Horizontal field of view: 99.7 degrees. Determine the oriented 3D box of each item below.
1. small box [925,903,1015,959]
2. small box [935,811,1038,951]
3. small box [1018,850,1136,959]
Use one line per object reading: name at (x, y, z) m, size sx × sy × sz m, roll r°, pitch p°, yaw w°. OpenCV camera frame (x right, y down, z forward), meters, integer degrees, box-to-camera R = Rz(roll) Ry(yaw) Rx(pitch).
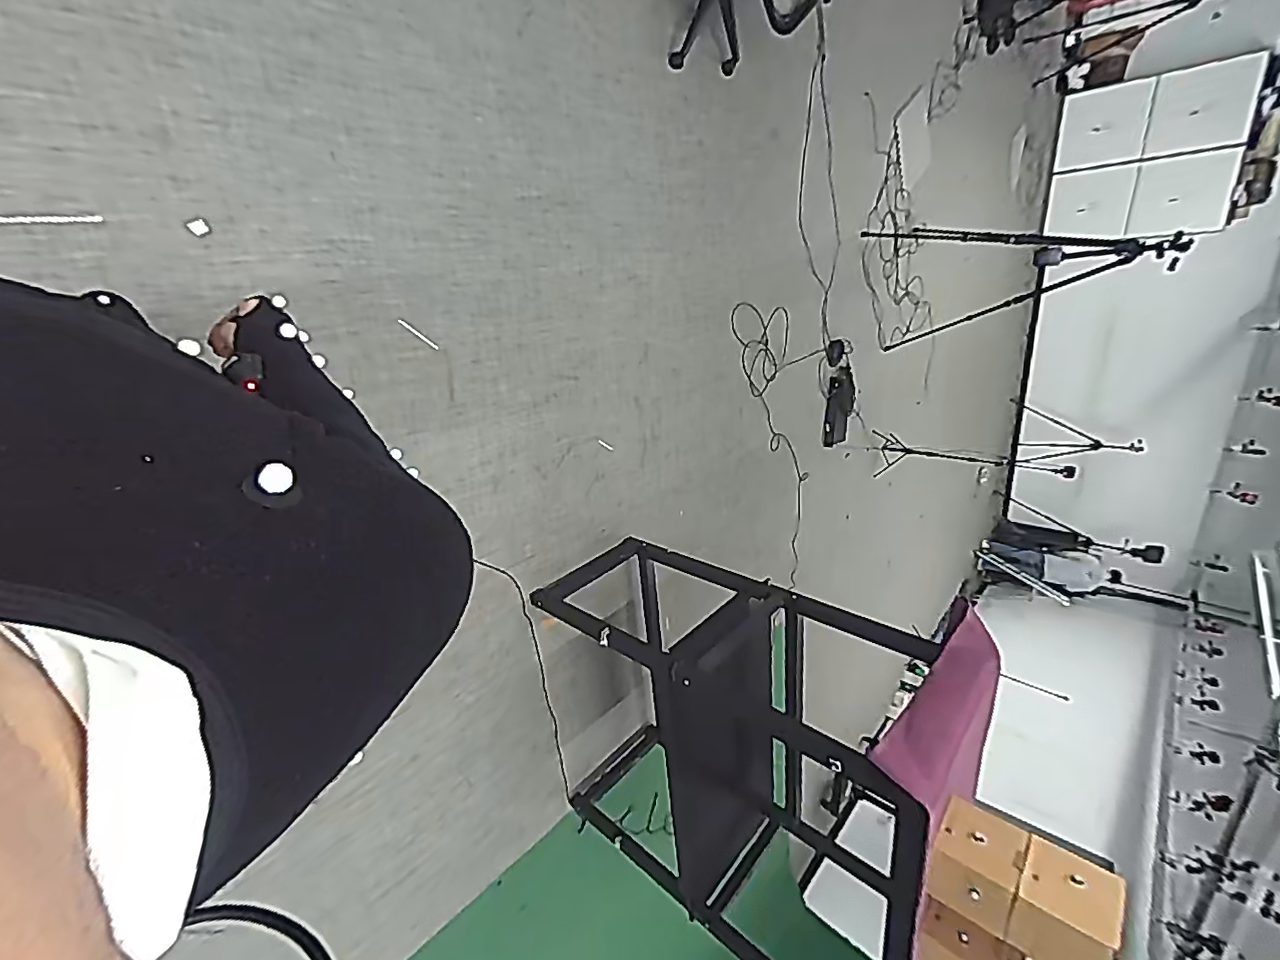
small box at (0.836, 1.212, 1.372) m, size 0.168 × 0.176 × 0.179 m, roll -26°, pitch 118°, yaw -40°
small box at (0.805, 0.917, 1.262) m, size 0.168 × 0.176 × 0.179 m, roll -28°, pitch 119°, yaw -40°
small box at (0.926, 0.943, 1.155) m, size 0.168 × 0.176 × 0.179 m, roll -29°, pitch 121°, yaw -40°
